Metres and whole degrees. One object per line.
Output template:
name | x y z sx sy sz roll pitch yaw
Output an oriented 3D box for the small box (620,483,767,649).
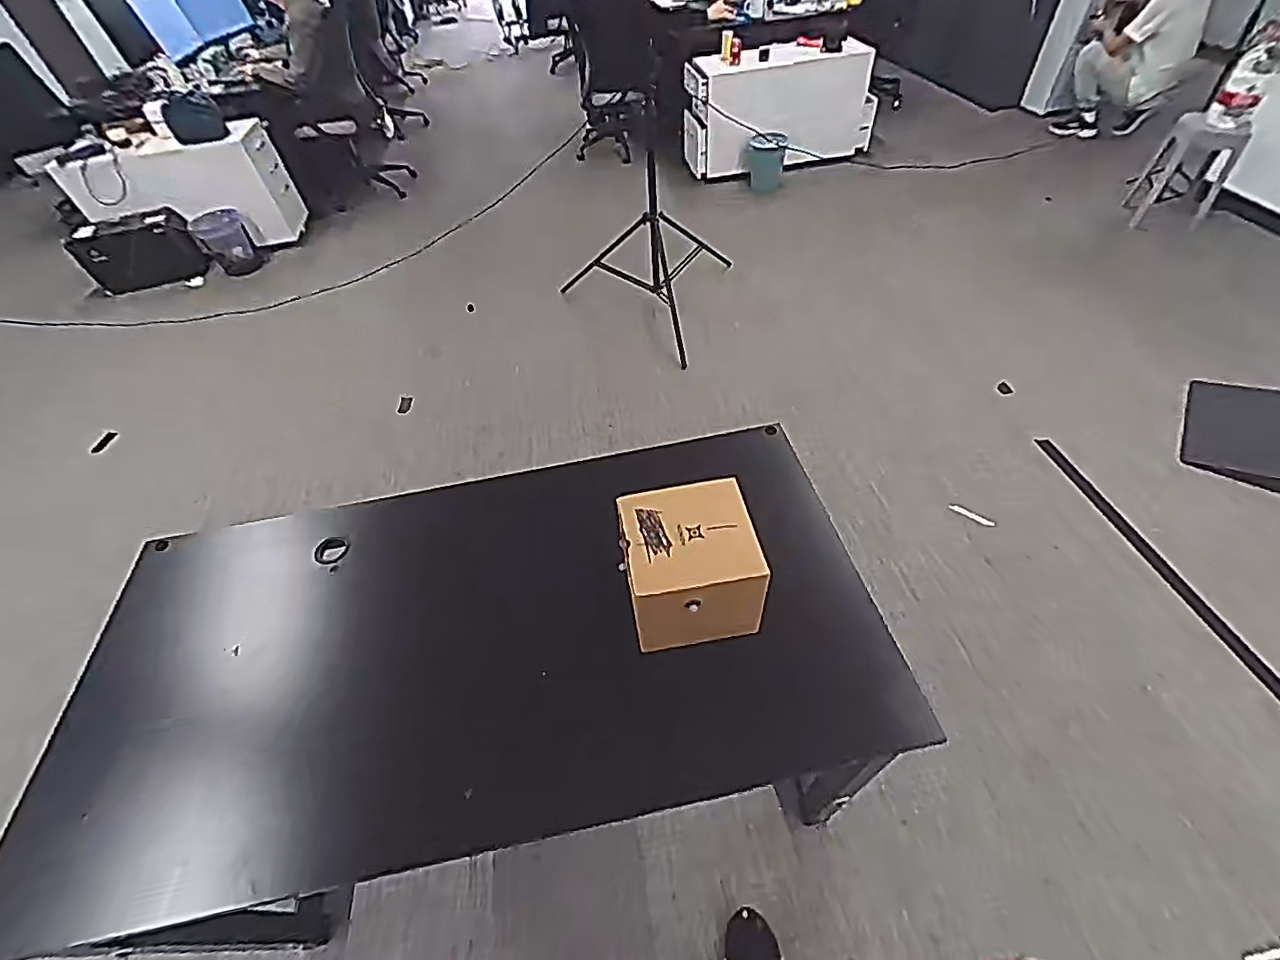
small box | 0.073 0.131 0.795 0.179 0.176 0.168 -9 49 -3
